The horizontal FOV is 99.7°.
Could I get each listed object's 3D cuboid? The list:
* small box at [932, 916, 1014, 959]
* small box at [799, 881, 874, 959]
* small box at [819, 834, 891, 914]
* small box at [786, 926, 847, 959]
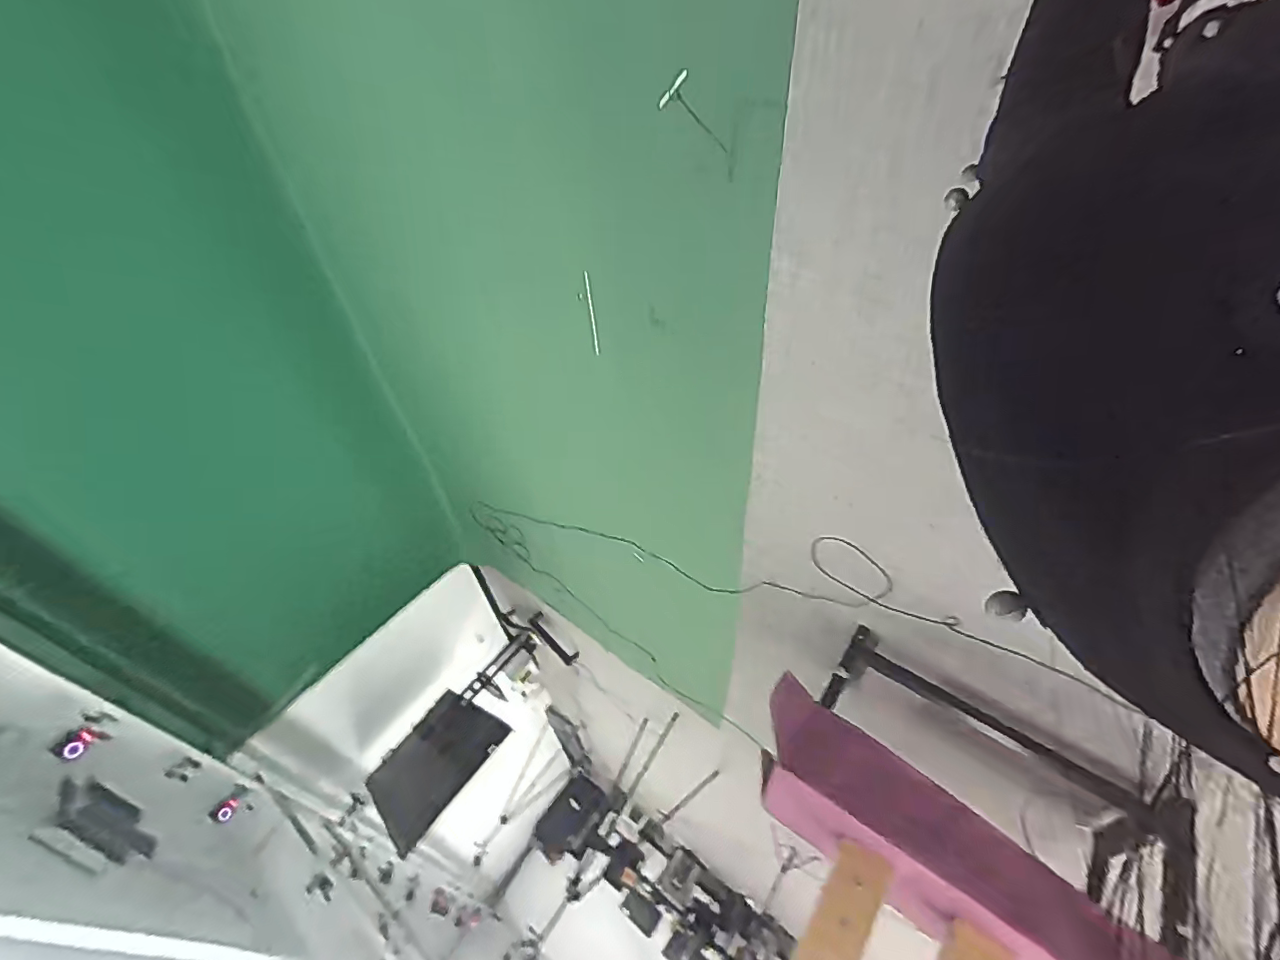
[{"bbox_3d":[1.086,1.585,1.771,0.179,0.176,0.168,27,143,29],"label":"small box"},{"bbox_3d":[0.677,1.523,1.863,0.179,0.176,0.168,26,143,28],"label":"small box"},{"bbox_3d":[0.777,1.425,1.949,0.179,0.176,0.168,28,143,28],"label":"small box"},{"bbox_3d":[0.577,1.622,1.777,0.179,0.176,0.168,25,142,28],"label":"small box"}]
